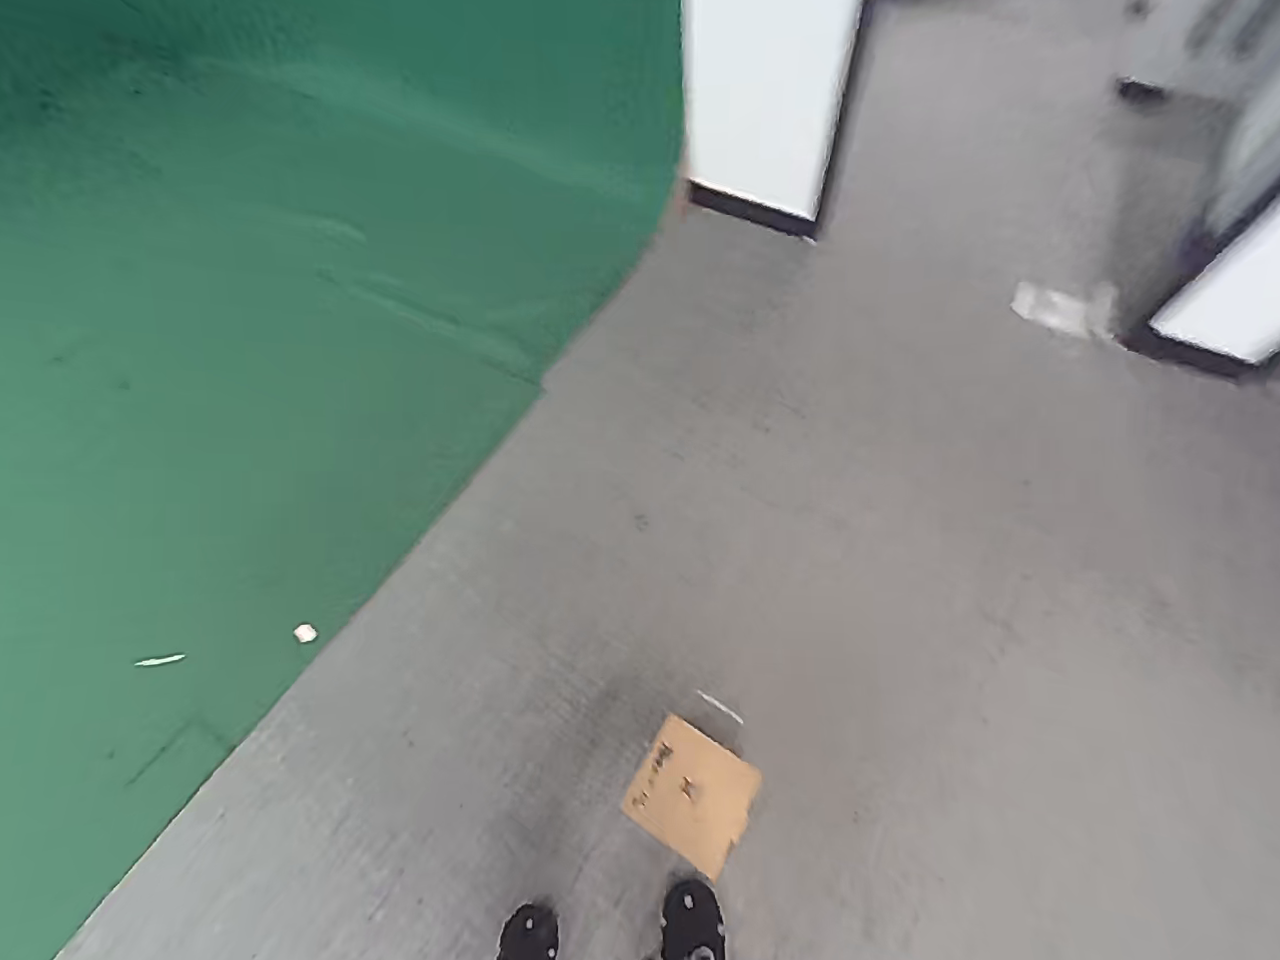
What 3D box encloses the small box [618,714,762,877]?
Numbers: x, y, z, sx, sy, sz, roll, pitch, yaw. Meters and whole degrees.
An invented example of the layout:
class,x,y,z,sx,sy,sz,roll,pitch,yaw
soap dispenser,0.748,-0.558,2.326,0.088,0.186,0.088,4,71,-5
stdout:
class,x,y,z,sx,sy,sz,roll,pitch,yaw
small box,0.087,0.530,0.933,0.179,0.176,0.168,30,69,18
